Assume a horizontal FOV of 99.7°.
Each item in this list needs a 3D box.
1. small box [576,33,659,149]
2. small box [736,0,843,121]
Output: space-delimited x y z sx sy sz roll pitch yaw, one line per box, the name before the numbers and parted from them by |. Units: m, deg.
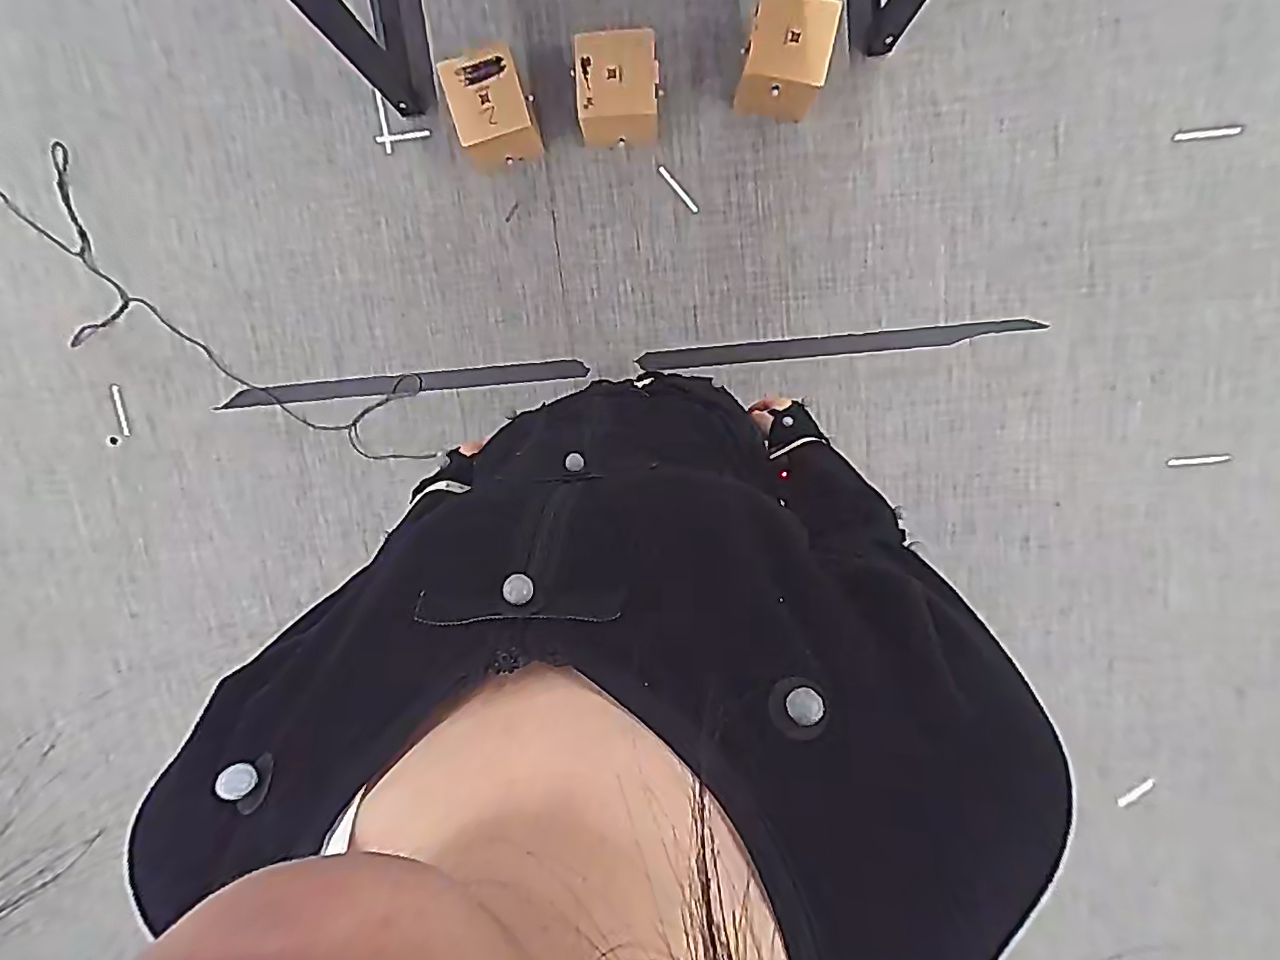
small box | -0.048 -0.885 1.244 0.179 0.176 0.168 -1 101 2
small box | 0.328 -0.946 1.222 0.179 0.176 0.168 12 102 1
